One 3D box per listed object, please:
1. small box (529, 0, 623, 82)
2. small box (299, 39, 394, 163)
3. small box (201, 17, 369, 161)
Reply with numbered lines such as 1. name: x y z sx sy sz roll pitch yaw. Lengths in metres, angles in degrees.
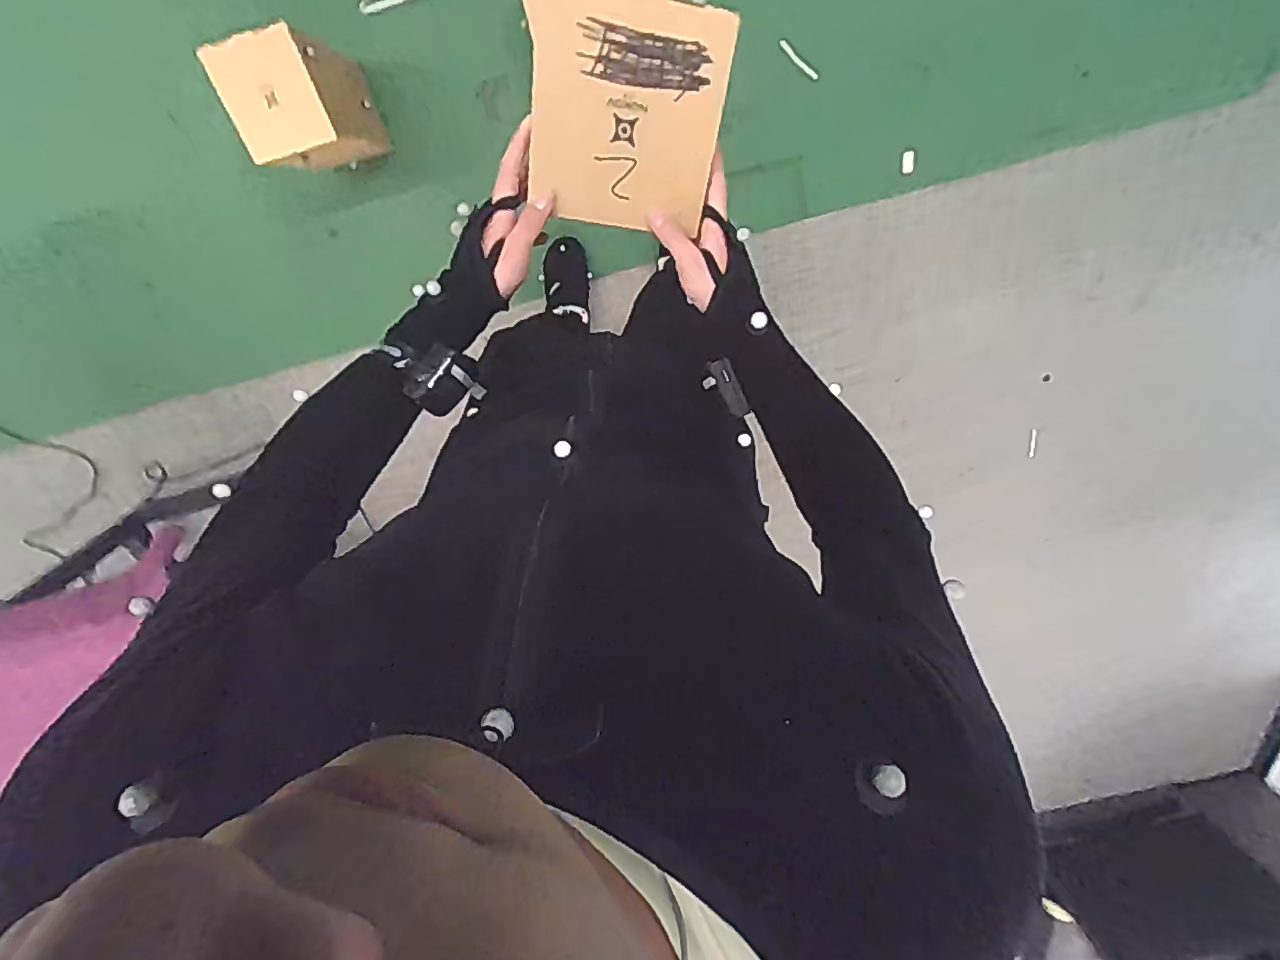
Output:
1. small box: -0.137 -0.954 1.114 0.168 0.176 0.179 -13 120 2
2. small box: -0.661 -0.796 1.155 0.168 0.176 0.179 -14 120 4
3. small box: -0.646 -0.718 1.014 0.168 0.176 0.179 -15 118 4
